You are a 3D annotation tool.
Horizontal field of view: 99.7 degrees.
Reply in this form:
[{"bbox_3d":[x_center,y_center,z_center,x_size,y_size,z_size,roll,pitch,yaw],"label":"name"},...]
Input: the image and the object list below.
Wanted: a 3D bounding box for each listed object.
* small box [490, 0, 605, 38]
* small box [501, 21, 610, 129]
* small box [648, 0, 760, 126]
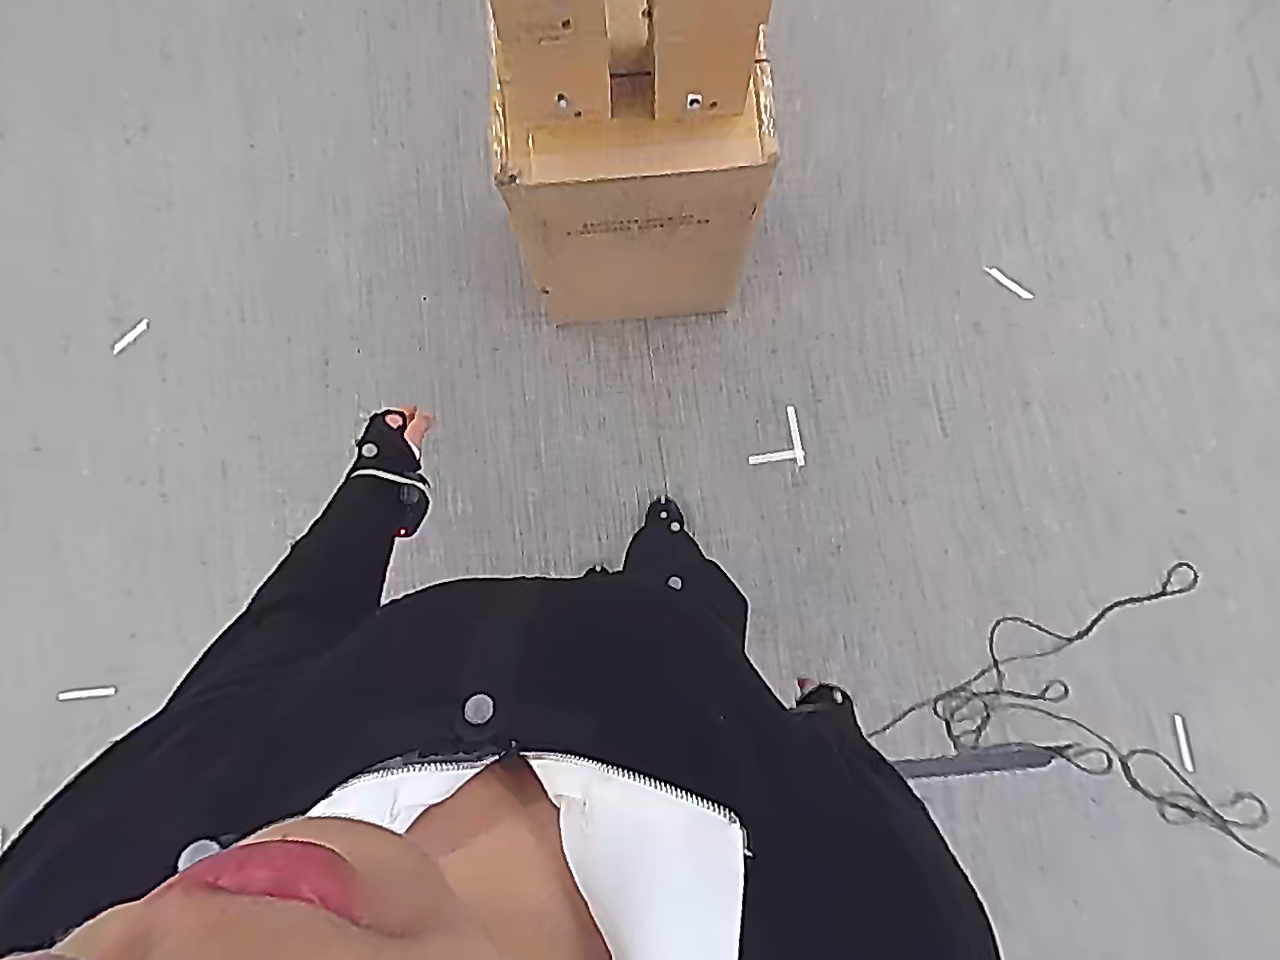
[{"bbox_3d":[-0.144,-0.771,0.765,0.168,0.176,0.179,-8,83,-1],"label":"small box"},{"bbox_3d":[-0.143,-0.747,0.928,0.168,0.176,0.179,-7,83,-1],"label":"small box"},{"bbox_3d":[0.101,-0.756,0.929,0.168,0.176,0.179,-6,84,2],"label":"small box"}]
